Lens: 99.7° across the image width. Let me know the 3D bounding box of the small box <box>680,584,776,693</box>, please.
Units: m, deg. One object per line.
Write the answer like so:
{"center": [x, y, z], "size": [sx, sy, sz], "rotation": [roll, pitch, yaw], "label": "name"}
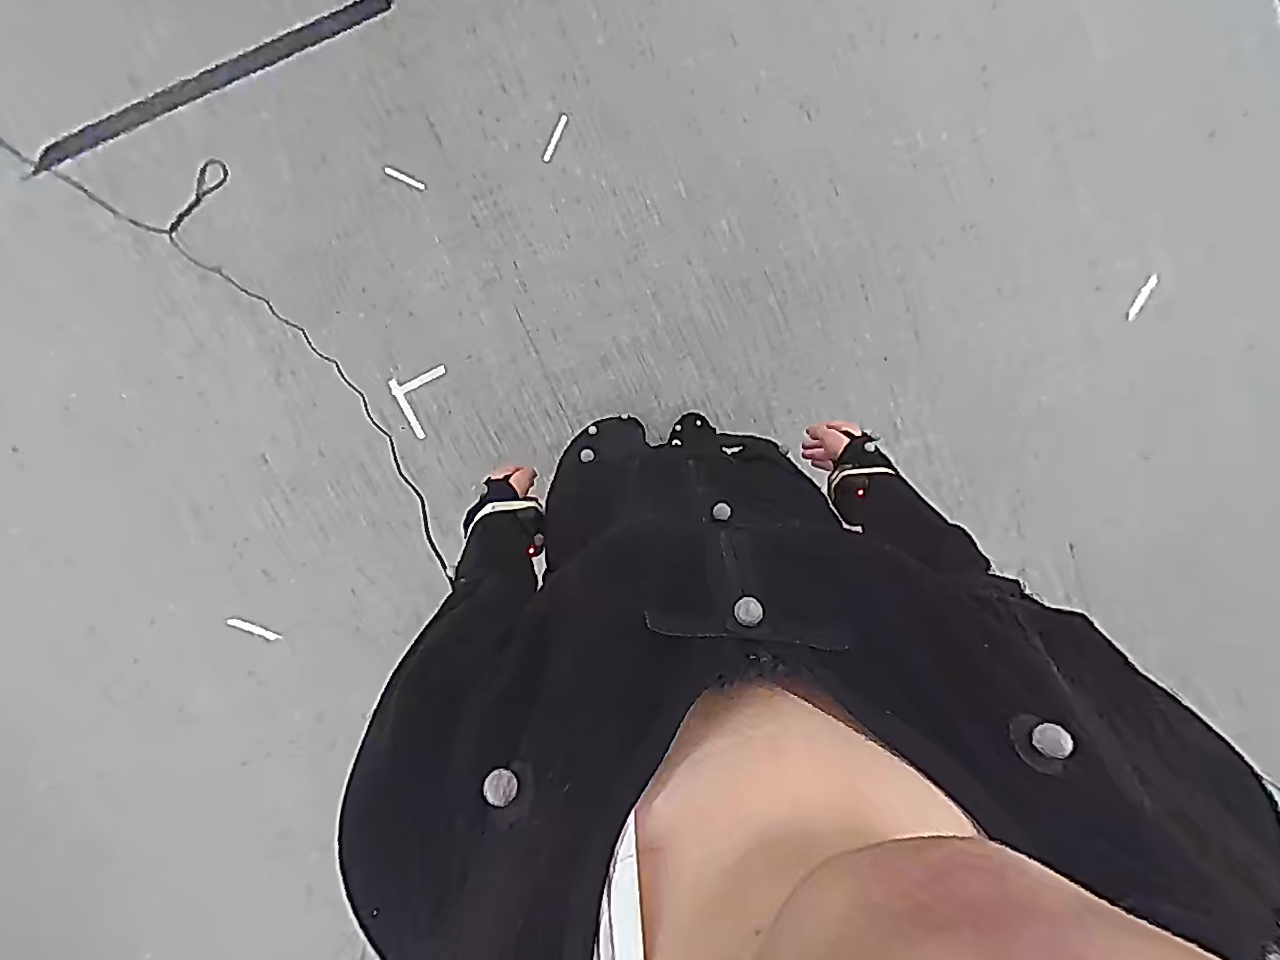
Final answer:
{"center": [0.204, 0.370, 1.308], "size": [0.168, 0.176, 0.179], "rotation": [-26, 99, 5], "label": "small box"}
